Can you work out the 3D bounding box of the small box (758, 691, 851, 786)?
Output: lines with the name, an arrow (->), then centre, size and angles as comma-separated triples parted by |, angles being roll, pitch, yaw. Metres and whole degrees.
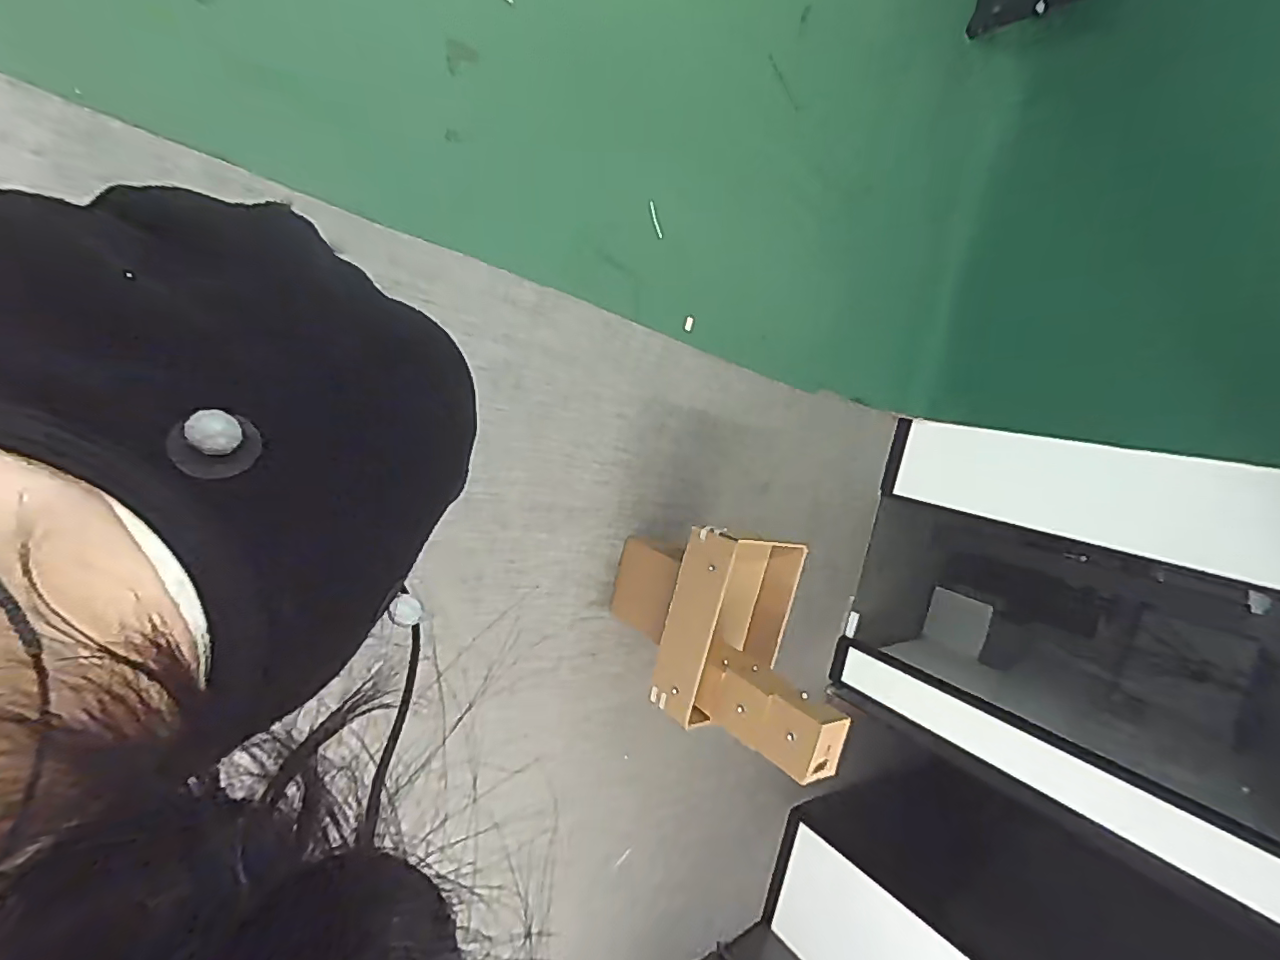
small box -> 0.463, 0.727, 1.540 | 0.168, 0.176, 0.179 | 14, 93, -41
